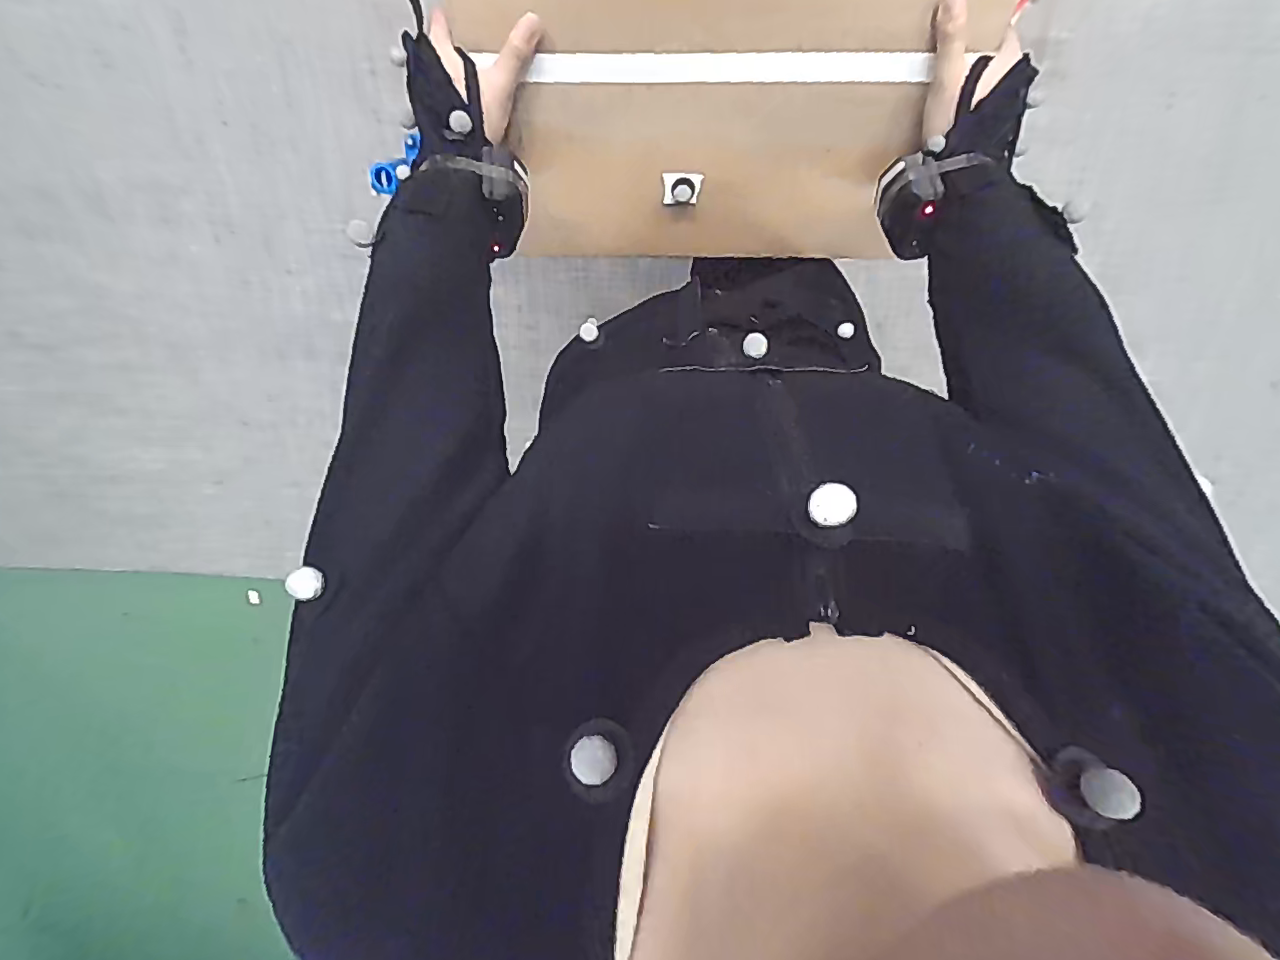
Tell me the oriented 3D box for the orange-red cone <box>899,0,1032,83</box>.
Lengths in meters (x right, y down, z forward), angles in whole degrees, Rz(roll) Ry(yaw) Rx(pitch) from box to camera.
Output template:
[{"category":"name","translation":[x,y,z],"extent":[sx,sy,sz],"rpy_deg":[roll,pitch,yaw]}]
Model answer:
[{"category":"orange-red cone","translation":[0.586,-0.777,0.809],"extent":[0.199,0.360,0.198],"rpy_deg":[21,115,-9]}]

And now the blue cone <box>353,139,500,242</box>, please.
[{"category":"blue cone","translation":[-0.398,-0.533,0.983],"extent":[0.192,0.380,0.193],"rpy_deg":[4,115,1]}]
